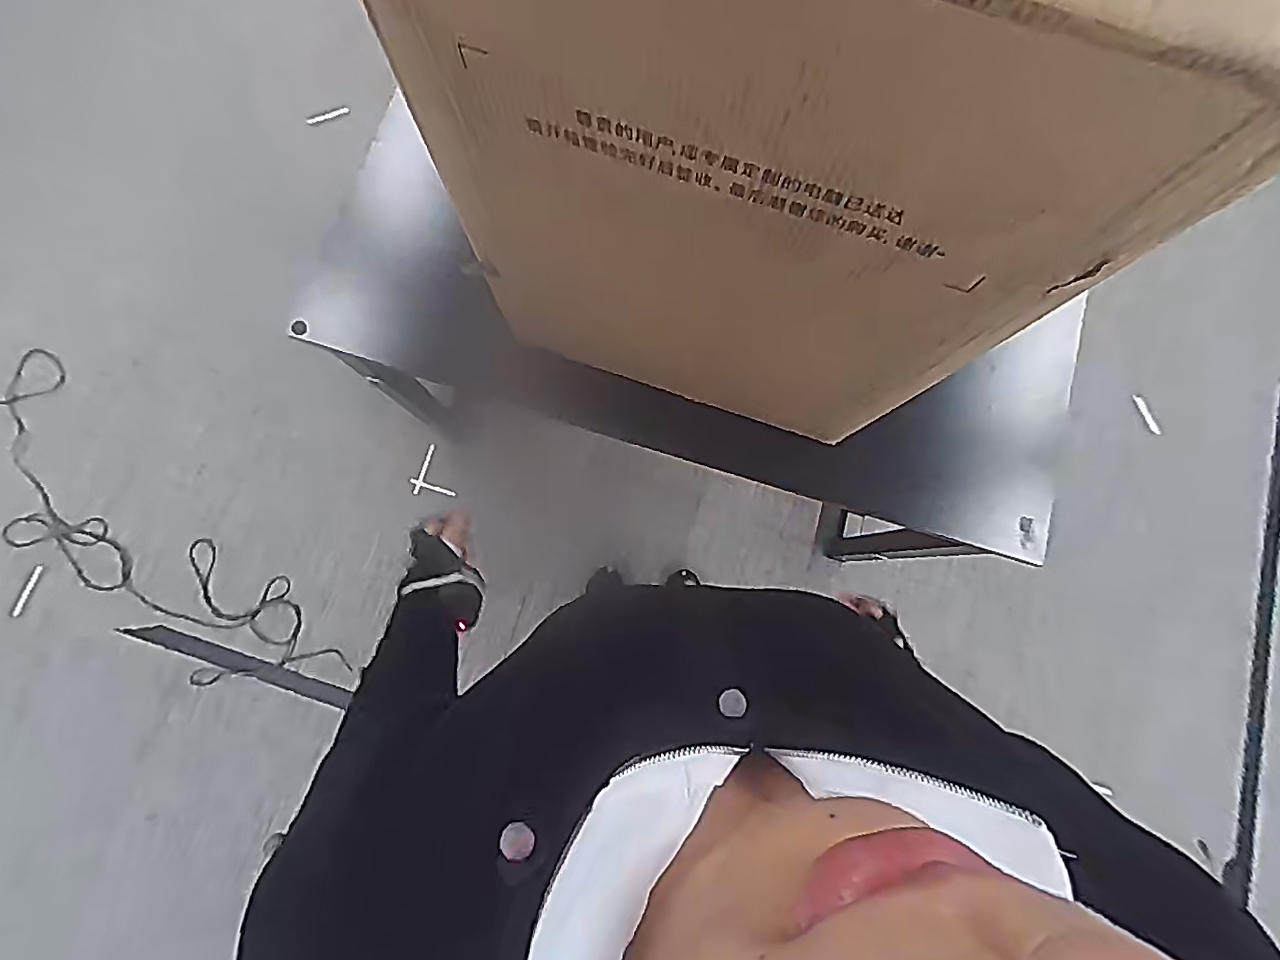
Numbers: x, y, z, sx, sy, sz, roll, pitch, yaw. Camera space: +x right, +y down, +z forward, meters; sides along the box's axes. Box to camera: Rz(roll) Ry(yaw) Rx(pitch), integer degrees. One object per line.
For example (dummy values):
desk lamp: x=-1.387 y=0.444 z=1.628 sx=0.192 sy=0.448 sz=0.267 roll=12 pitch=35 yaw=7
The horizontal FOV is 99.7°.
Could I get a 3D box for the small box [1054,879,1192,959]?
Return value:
small box: x=1.174 y=1.125 z=1.323 sx=0.179 sy=0.176 sz=0.168 roll=18 pitch=80 yaw=2
